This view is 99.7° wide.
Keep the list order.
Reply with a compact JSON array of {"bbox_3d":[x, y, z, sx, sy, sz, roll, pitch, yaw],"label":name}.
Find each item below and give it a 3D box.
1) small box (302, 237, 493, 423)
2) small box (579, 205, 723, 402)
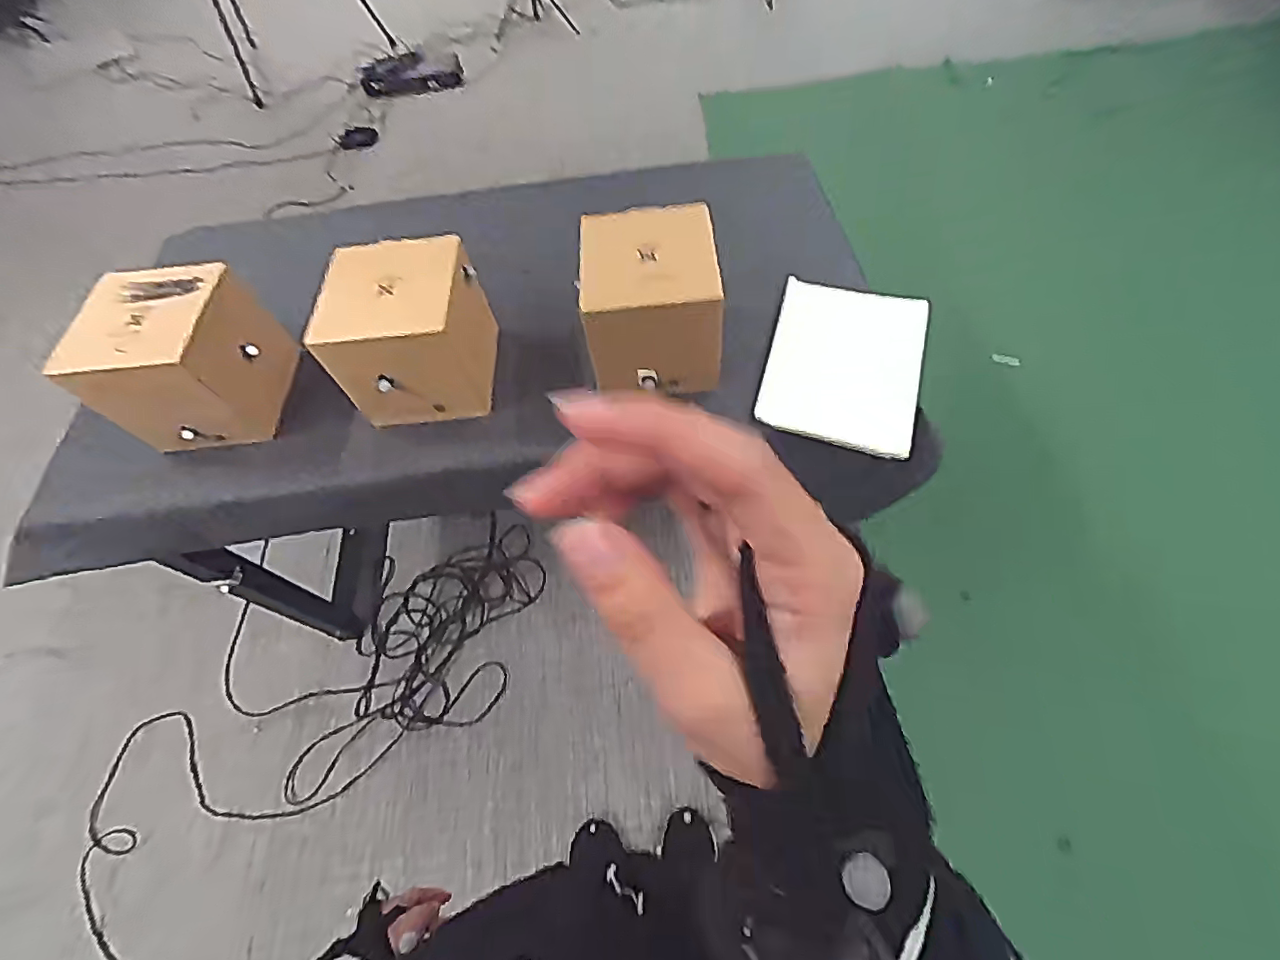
[{"bbox_3d":[-0.304,-0.189,0.723,0.168,0.176,0.179,-6,59,2],"label":"small box"},{"bbox_3d":[0.015,-0.228,0.716,0.168,0.176,0.179,-6,60,4],"label":"small box"}]
